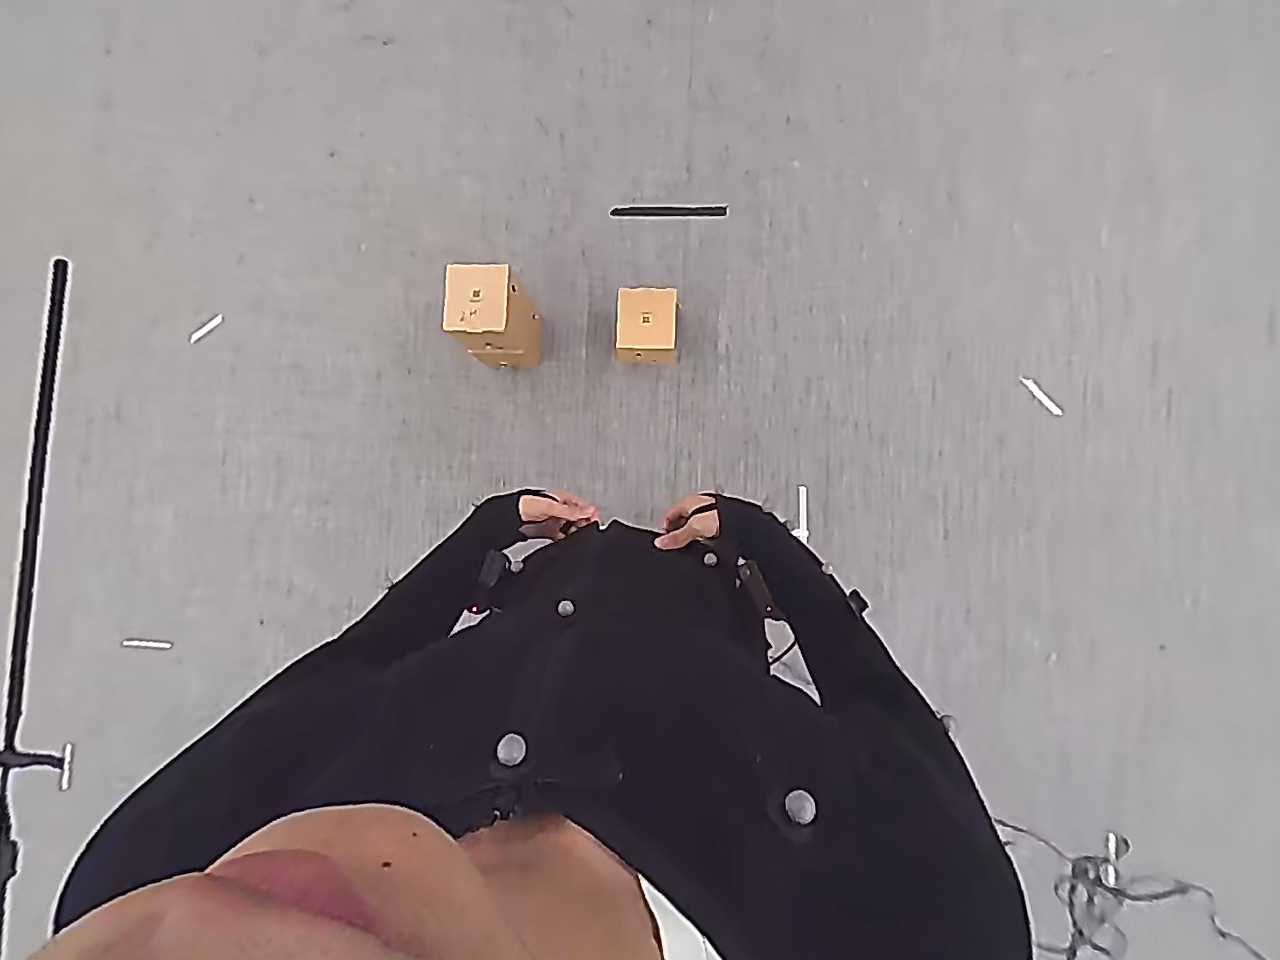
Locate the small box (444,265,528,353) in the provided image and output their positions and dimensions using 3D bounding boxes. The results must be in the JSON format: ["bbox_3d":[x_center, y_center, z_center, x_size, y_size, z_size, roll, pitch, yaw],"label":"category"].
[{"bbox_3d":[-0.403,-0.451,1.440,0.168,0.176,0.179,2,88,5],"label":"small box"}]

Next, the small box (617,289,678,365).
[{"bbox_3d":[0.025,-0.441,1.583,0.168,0.176,0.179,1,86,3],"label":"small box"}]

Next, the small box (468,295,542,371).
[{"bbox_3d":[-0.394,-0.434,1.603,0.168,0.176,0.179,2,87,4],"label":"small box"}]
